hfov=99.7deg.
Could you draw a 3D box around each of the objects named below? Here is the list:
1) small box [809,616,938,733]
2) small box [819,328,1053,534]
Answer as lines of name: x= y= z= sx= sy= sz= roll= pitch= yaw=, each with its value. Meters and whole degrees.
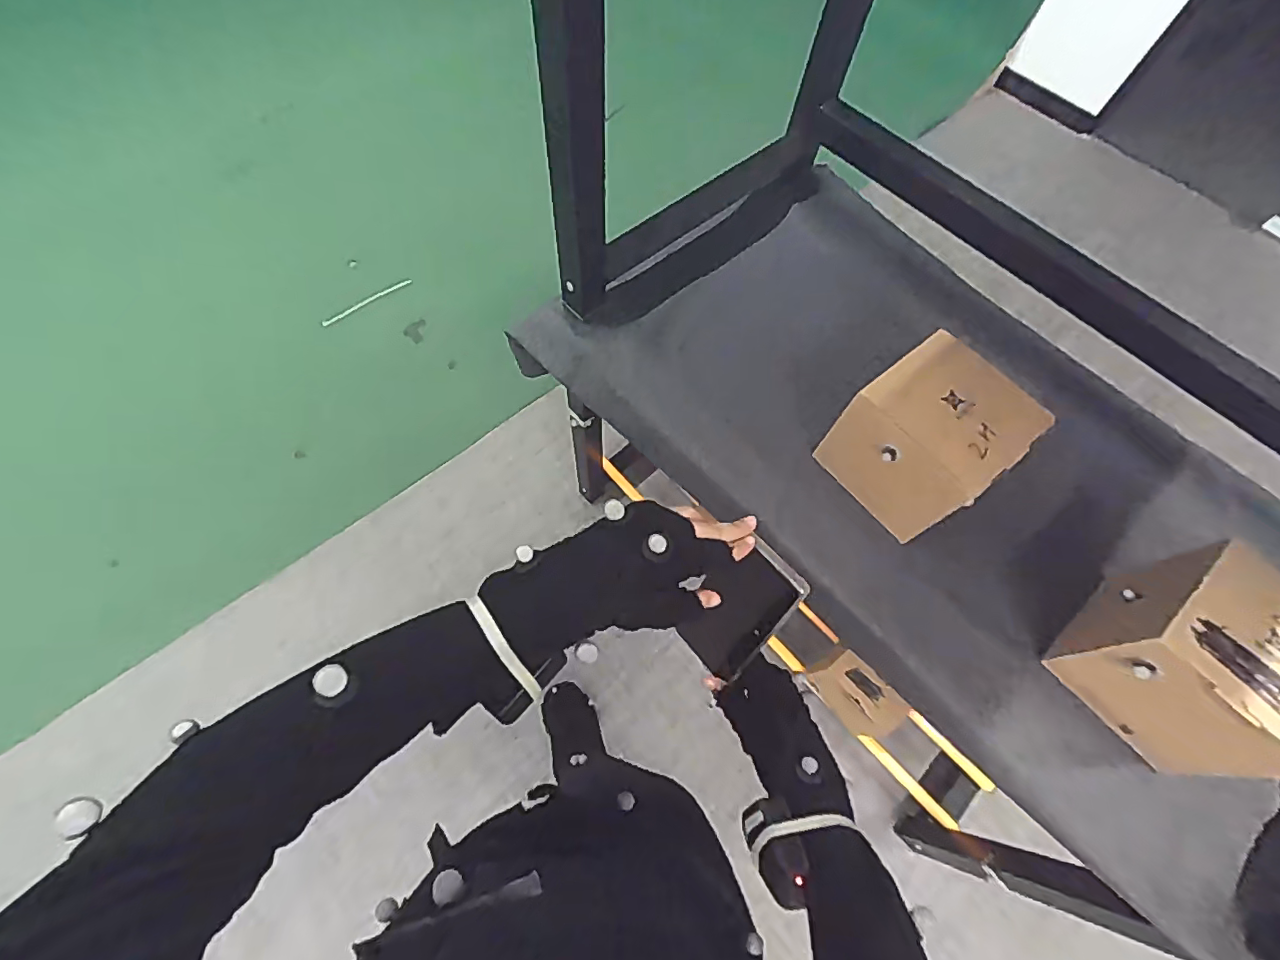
small box: x=0.496 y=0.429 z=1.186 sx=0.179 sy=0.176 sz=0.168 roll=-36 pitch=72 yaw=-17
small box: x=0.372 y=-0.057 z=0.716 sx=0.168 sy=0.176 sz=0.179 roll=-36 pitch=72 yaw=-18
